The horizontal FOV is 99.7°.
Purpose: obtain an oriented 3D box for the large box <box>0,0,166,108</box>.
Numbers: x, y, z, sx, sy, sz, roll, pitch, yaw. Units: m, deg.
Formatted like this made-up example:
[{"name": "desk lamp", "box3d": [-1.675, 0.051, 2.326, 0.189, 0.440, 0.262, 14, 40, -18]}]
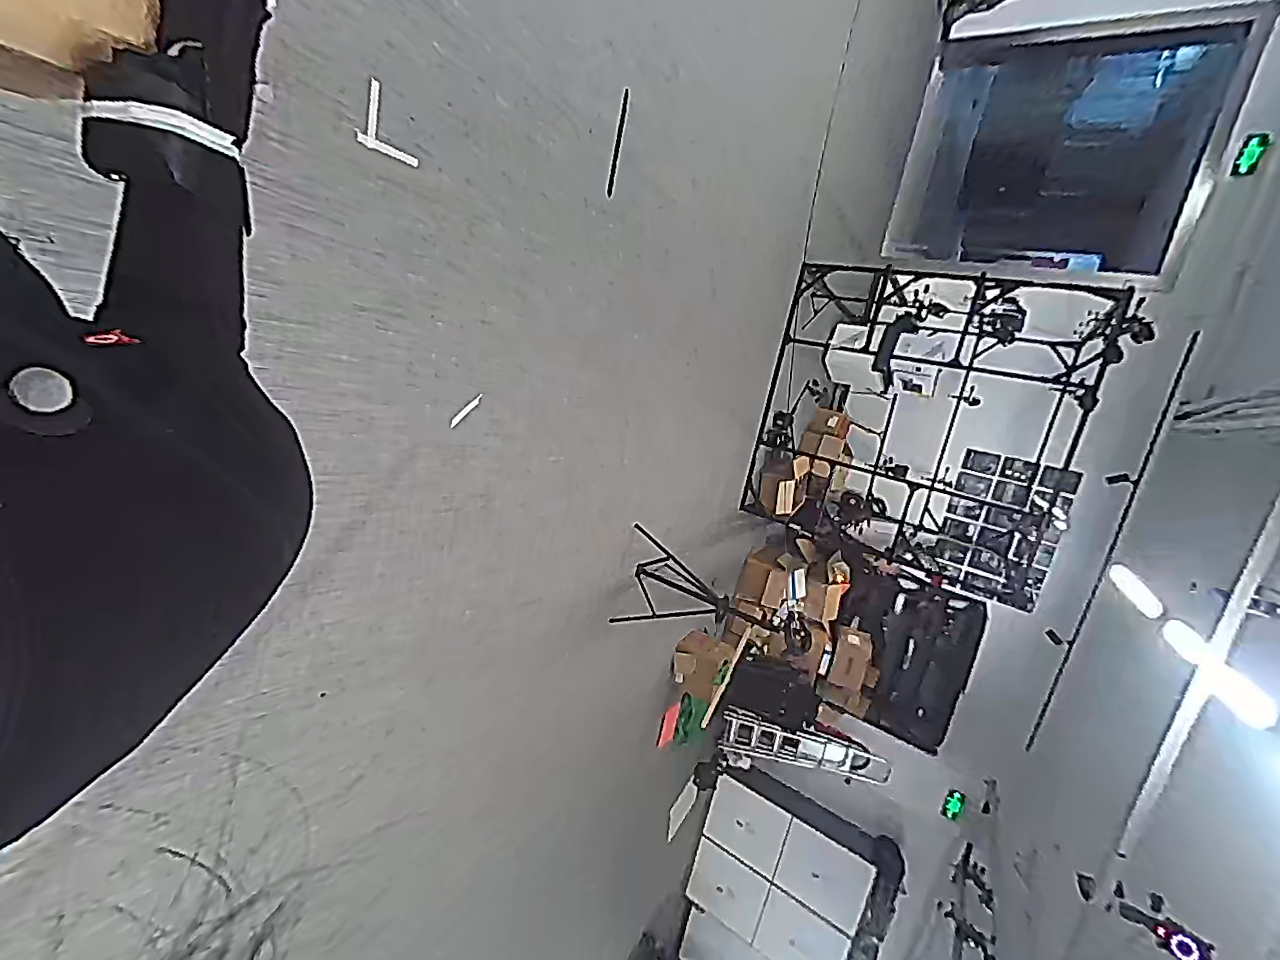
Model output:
[{"name": "large box", "box3d": [-0.534, -0.437, 0.252, 0.408, 0.320, 0.320, -10, 120, -57]}]
